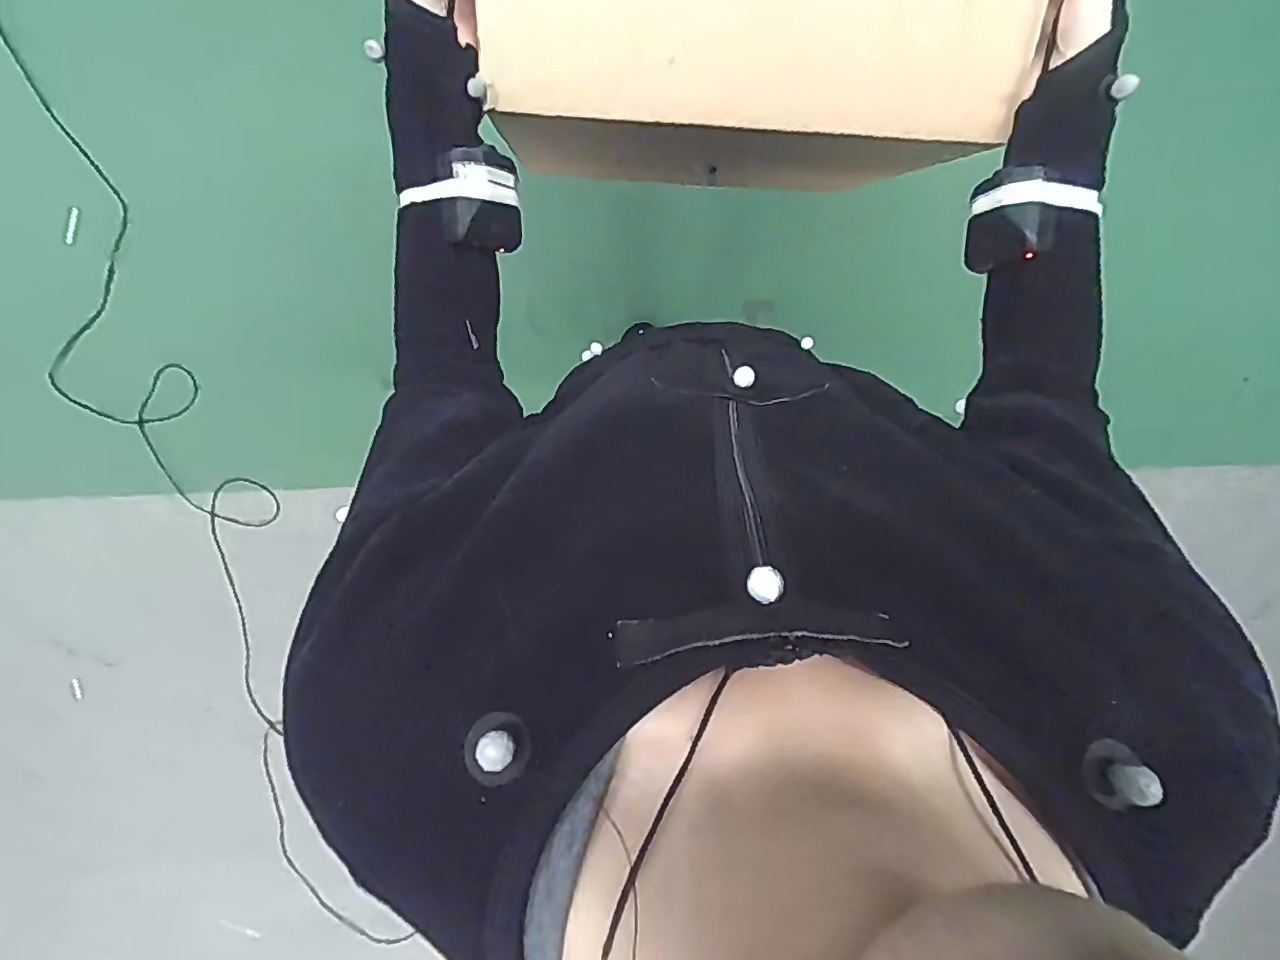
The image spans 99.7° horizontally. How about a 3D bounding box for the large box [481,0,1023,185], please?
[{"bbox_3d":[0.081,-0.467,0.501,0.408,0.320,0.320,1,111,-4],"label":"large box"}]
